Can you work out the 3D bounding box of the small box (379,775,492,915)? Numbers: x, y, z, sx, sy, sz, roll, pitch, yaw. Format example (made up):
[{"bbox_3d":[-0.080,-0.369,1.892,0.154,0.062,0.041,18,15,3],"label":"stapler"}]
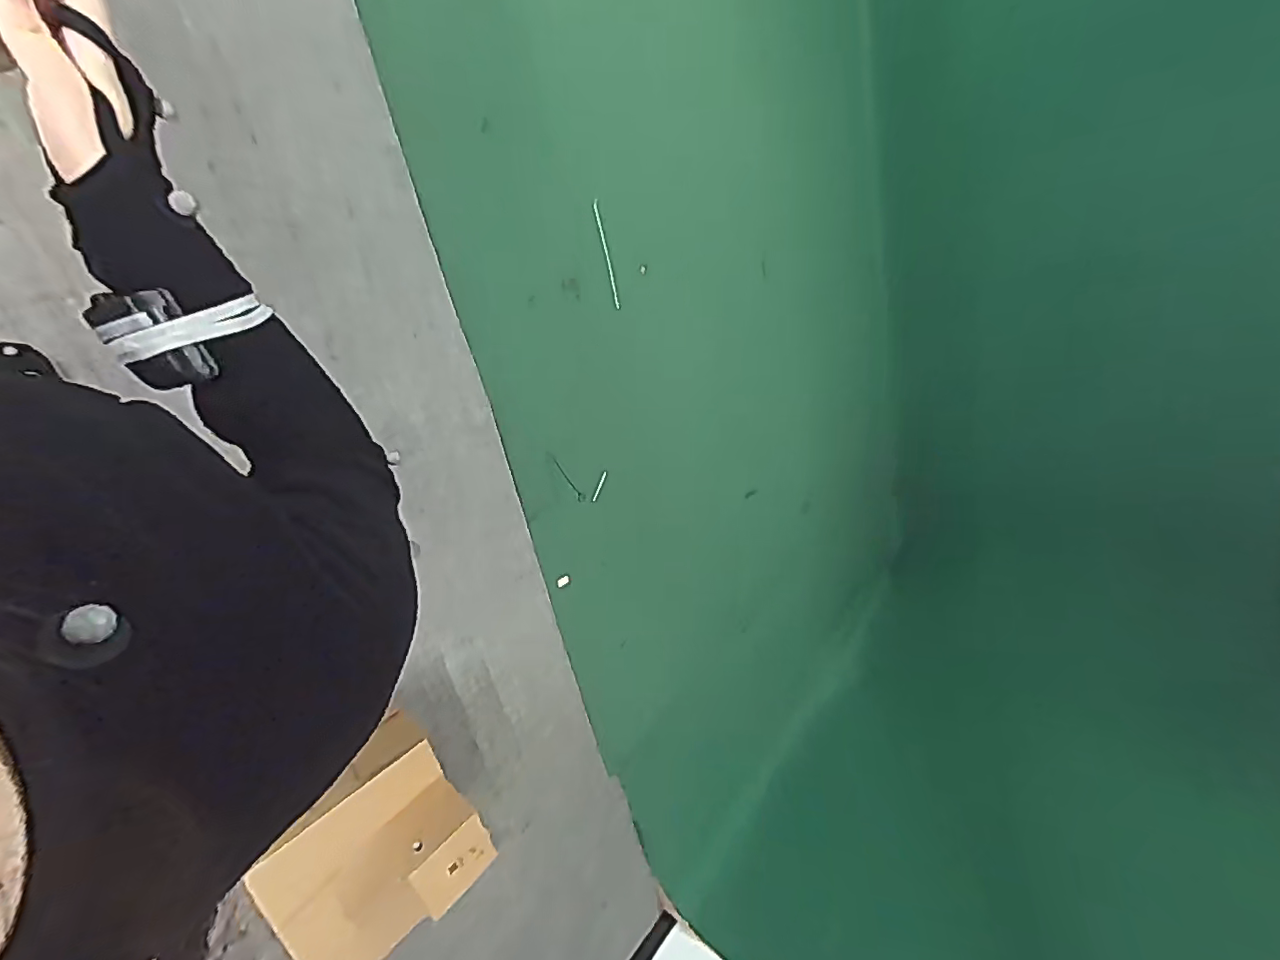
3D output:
[{"bbox_3d":[-0.487,0.848,1.273,0.179,0.176,0.168,-33,120,-39],"label":"small box"}]
